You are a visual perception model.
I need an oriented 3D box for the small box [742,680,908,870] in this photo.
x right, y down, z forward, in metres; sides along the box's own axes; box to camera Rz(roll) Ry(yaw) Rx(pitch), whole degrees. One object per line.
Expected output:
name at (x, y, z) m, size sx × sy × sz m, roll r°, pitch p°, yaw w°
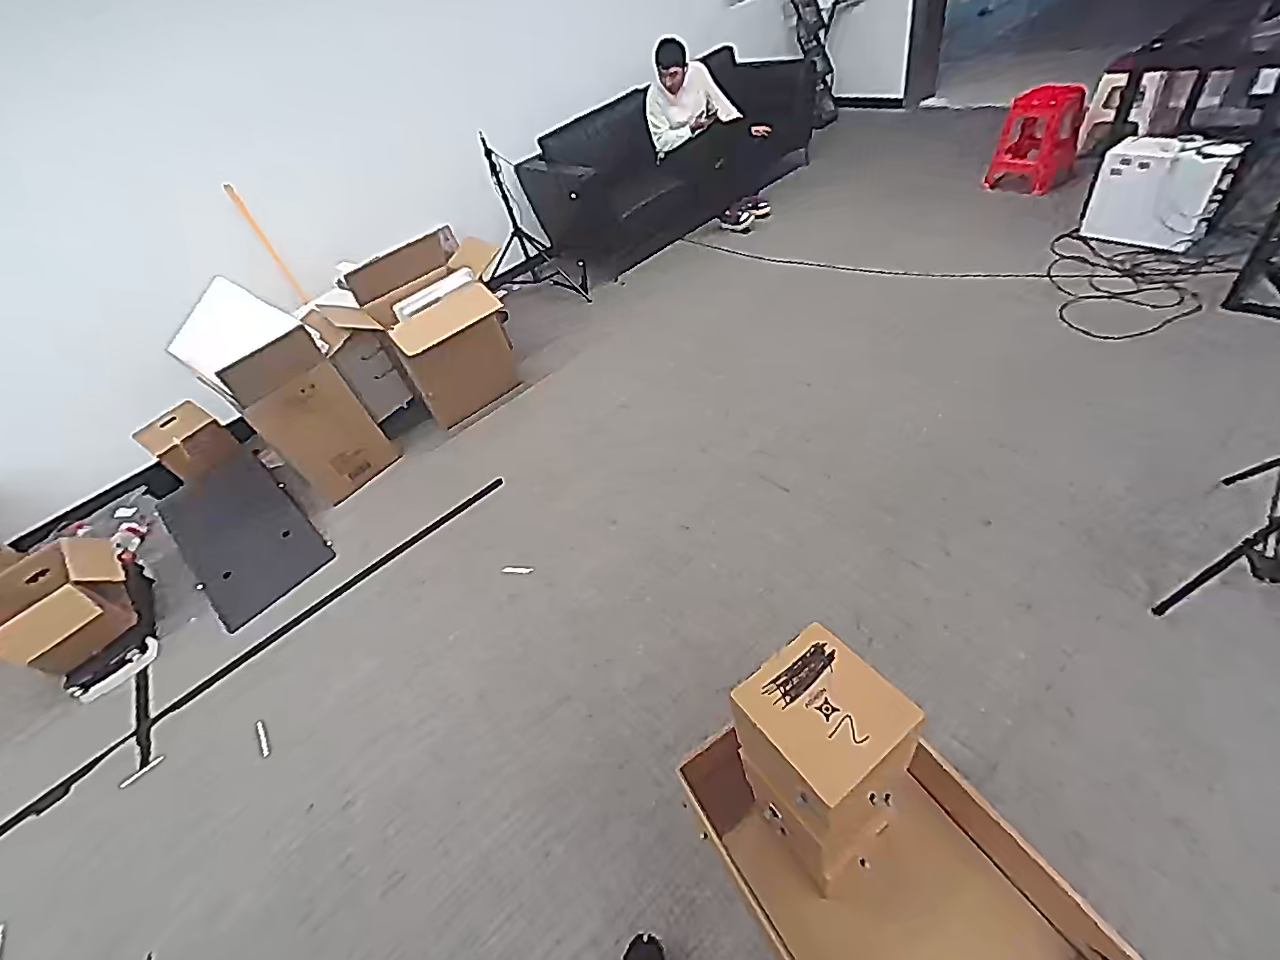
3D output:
small box at (0.280, 0.458, 0.842) m, size 0.179 × 0.176 × 0.168 m, roll -34°, pitch 45°, yaw -17°

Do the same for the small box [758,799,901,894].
small box at (0.319, 0.577, 0.947) m, size 0.168 × 0.176 × 0.179 m, roll -33°, pitch 46°, yaw -15°
